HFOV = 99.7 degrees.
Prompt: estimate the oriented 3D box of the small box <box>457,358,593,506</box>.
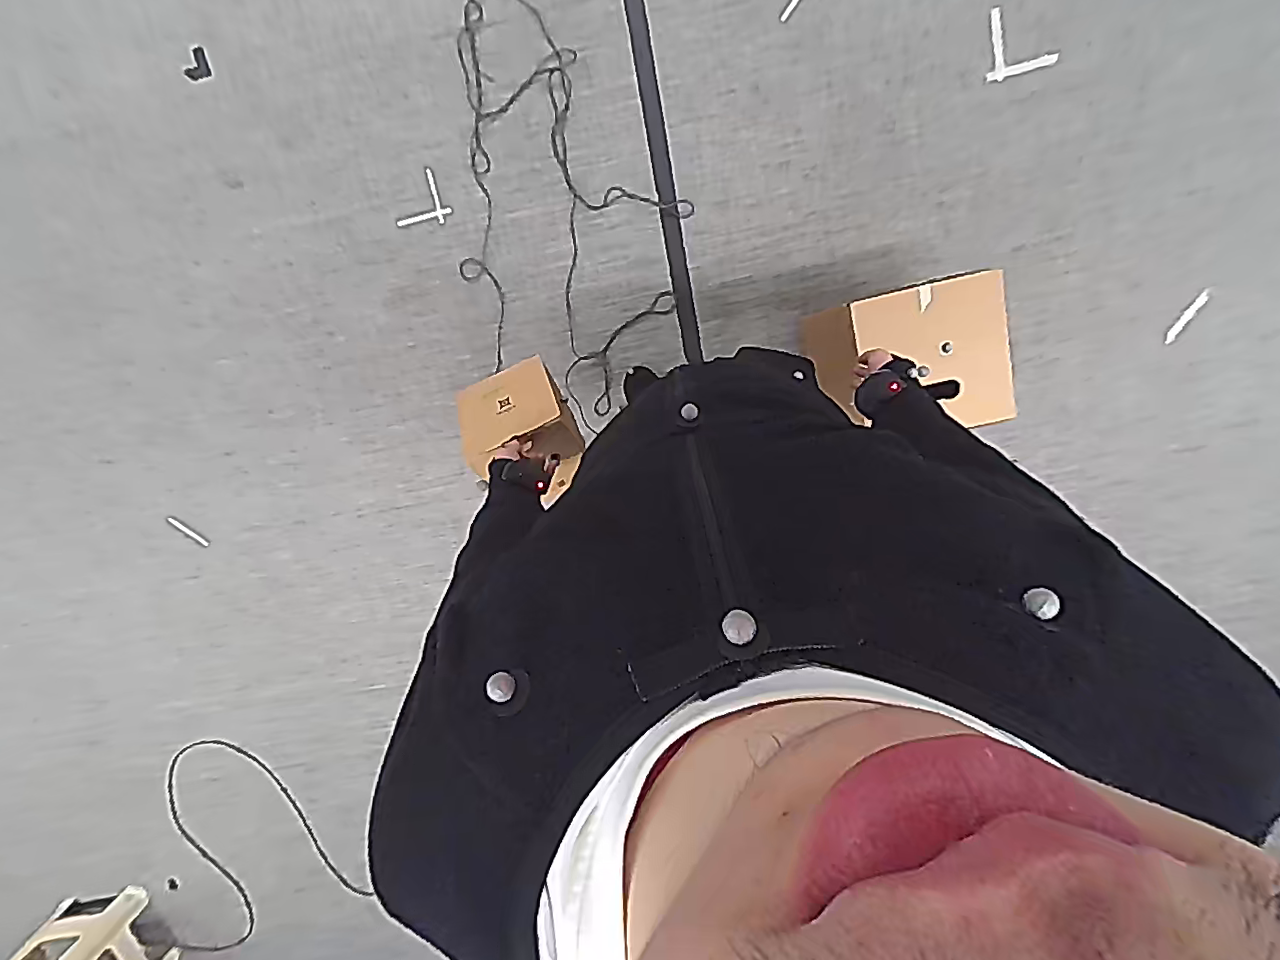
[{"bbox_3d":[-0.199,-0.075,0.959,0.168,0.179,0.176,-25,141,0],"label":"small box"}]
